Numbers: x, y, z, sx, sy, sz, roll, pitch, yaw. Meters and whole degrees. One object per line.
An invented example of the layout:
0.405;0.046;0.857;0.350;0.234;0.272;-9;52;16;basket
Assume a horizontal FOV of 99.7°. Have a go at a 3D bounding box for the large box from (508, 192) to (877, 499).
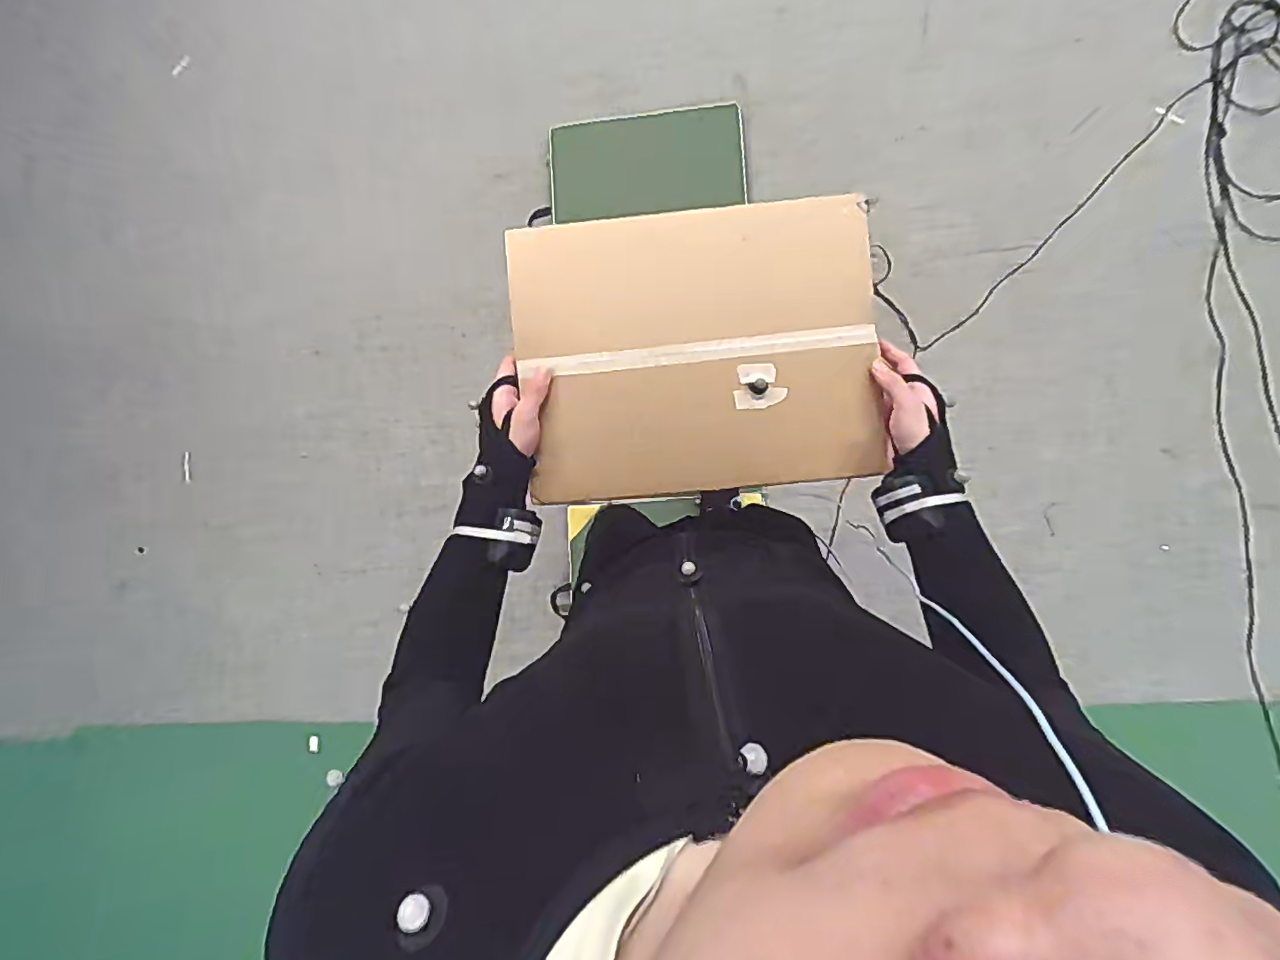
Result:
0.062;-0.157;0.768;0.408;0.320;0.320;-6;93;1;large box
